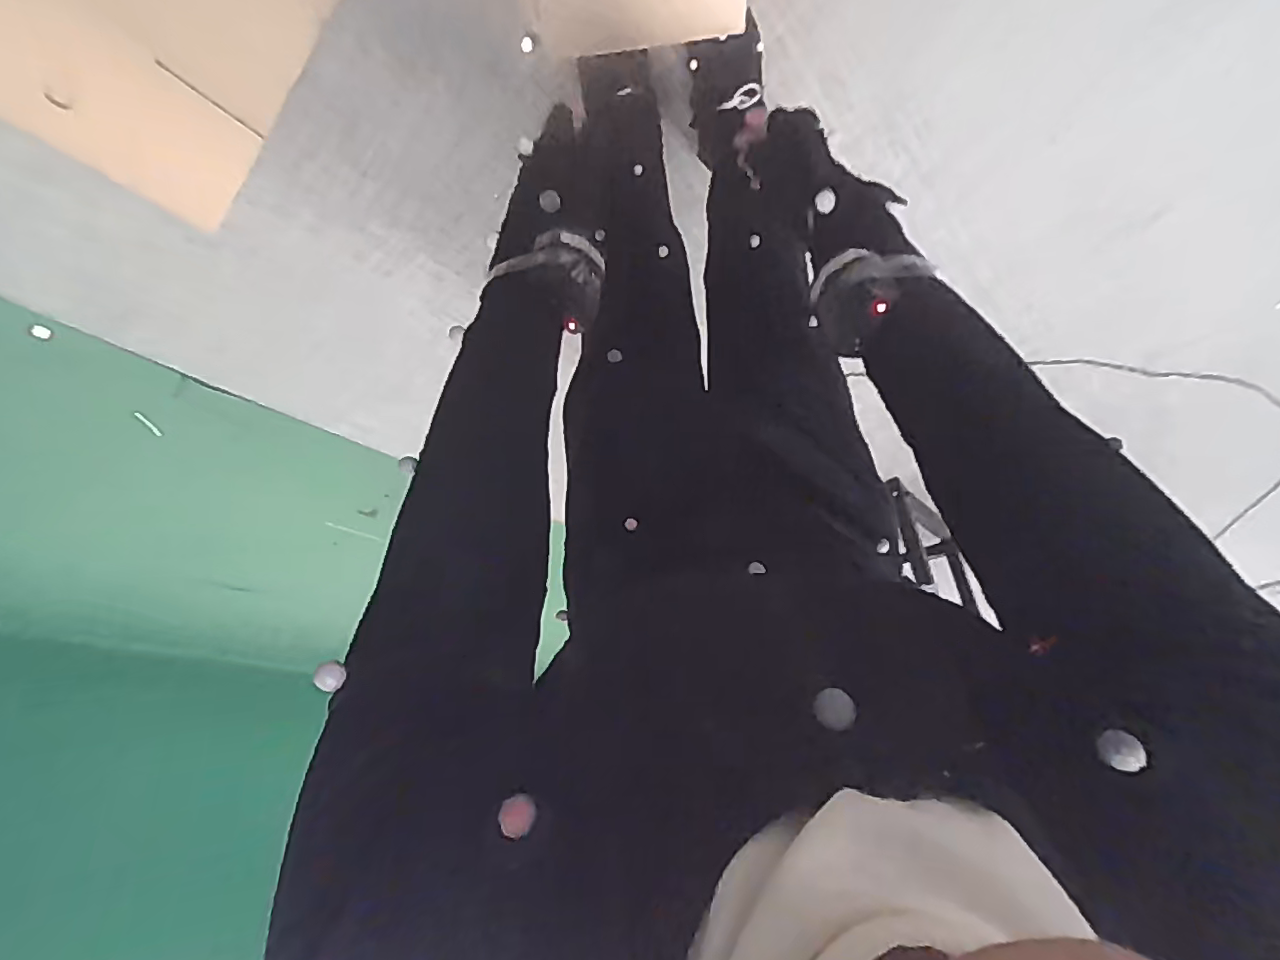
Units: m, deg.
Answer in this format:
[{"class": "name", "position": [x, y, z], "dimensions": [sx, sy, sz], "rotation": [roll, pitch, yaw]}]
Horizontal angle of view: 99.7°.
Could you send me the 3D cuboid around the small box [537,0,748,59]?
[{"class": "small box", "position": [-0.007, -0.492, 0.448], "dimensions": [0.179, 0.176, 0.168], "rotation": [-7, 147, 6]}]
